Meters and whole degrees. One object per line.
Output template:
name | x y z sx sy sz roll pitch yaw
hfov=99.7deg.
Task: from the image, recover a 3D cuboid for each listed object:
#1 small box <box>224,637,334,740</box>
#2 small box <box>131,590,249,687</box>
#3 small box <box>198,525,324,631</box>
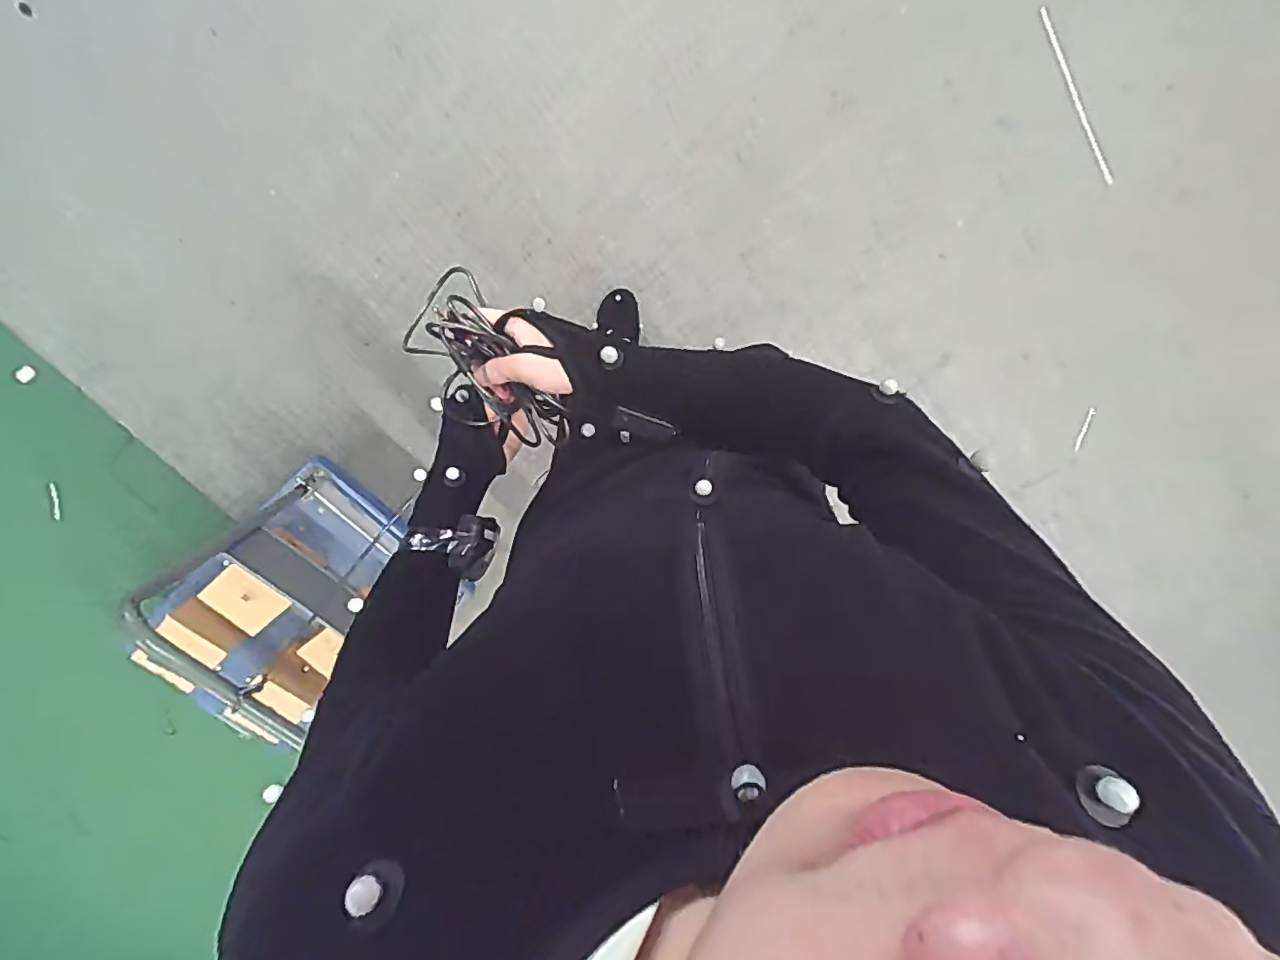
small box | -1.005 0.581 1.528 0.179 0.176 0.168 -43 107 11
small box | -1.179 0.408 1.450 0.179 0.176 0.168 -41 108 10
small box | -0.973 0.250 1.408 0.179 0.176 0.168 -39 108 9
